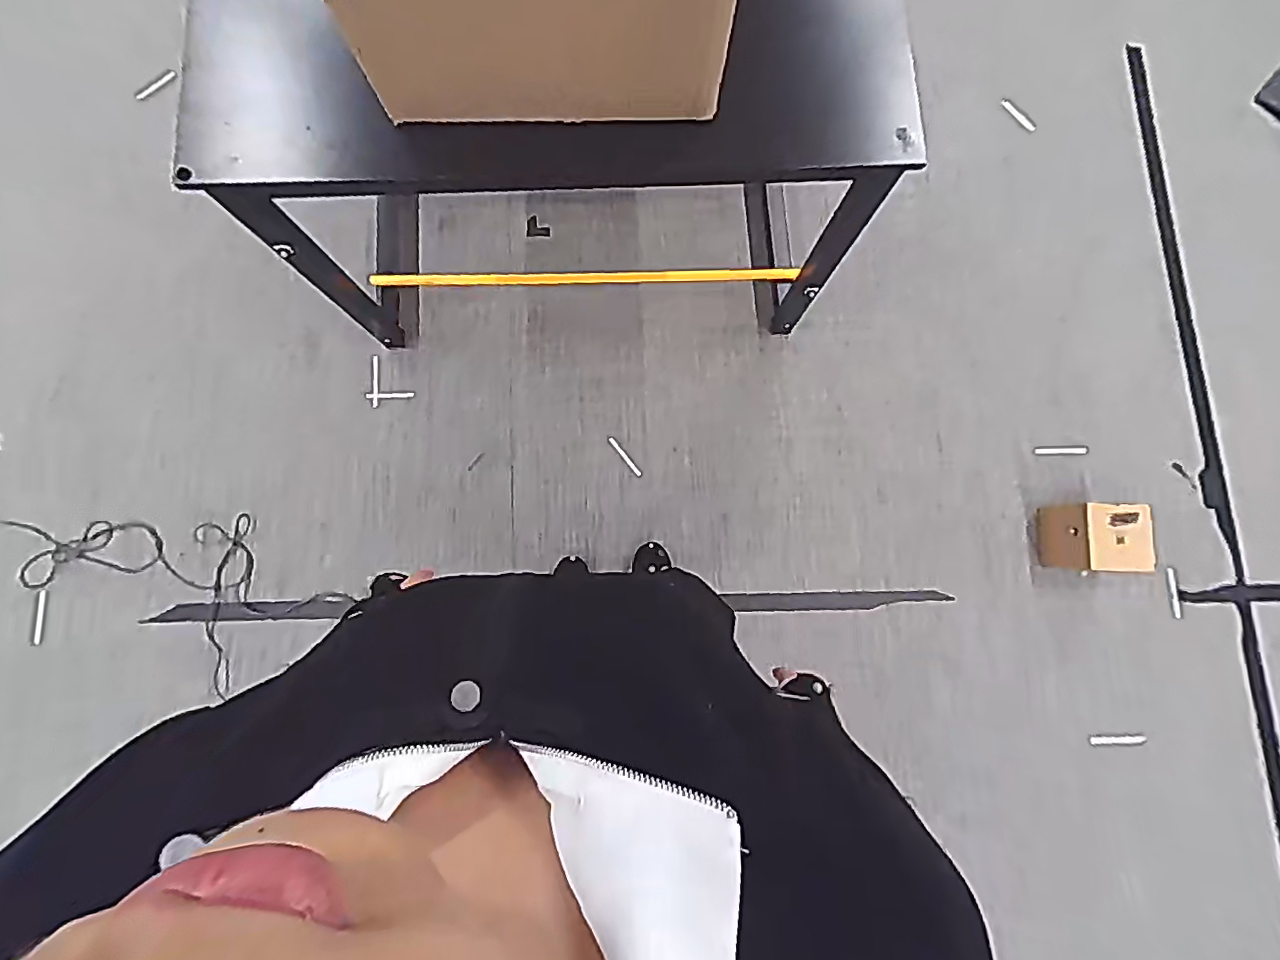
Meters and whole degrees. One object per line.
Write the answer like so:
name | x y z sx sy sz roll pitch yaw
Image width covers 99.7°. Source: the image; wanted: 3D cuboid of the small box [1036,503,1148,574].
small box | 1.213 0.160 1.465 0.168 0.176 0.179 2 83 -1
